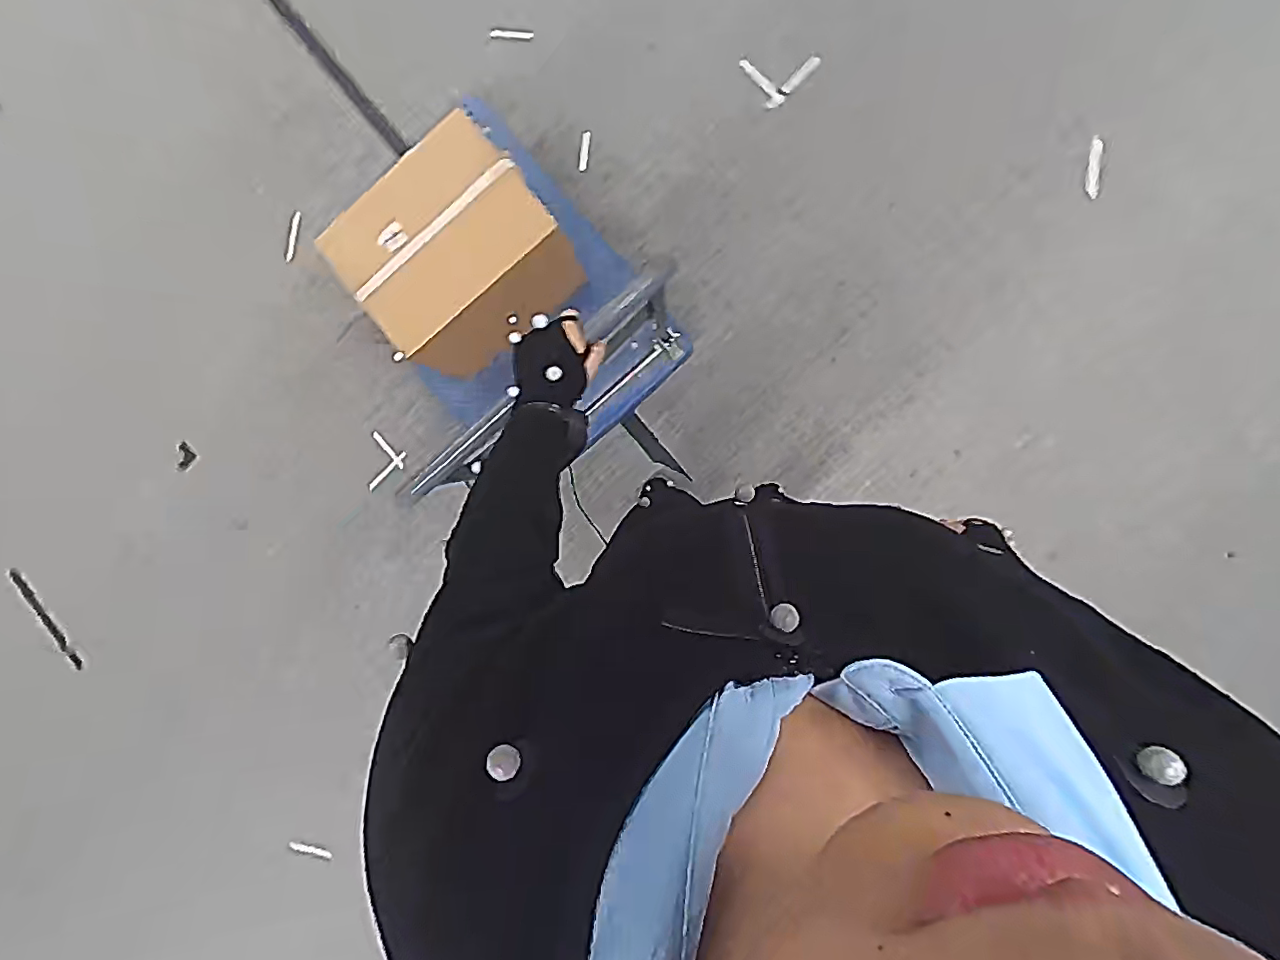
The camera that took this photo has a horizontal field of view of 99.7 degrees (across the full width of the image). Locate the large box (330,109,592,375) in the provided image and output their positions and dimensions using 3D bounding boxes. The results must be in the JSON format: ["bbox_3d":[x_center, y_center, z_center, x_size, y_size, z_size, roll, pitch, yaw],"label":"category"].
[{"bbox_3d":[-0.375,-0.500,1.226,0.408,0.320,0.320,-39,87,7],"label":"large box"}]
